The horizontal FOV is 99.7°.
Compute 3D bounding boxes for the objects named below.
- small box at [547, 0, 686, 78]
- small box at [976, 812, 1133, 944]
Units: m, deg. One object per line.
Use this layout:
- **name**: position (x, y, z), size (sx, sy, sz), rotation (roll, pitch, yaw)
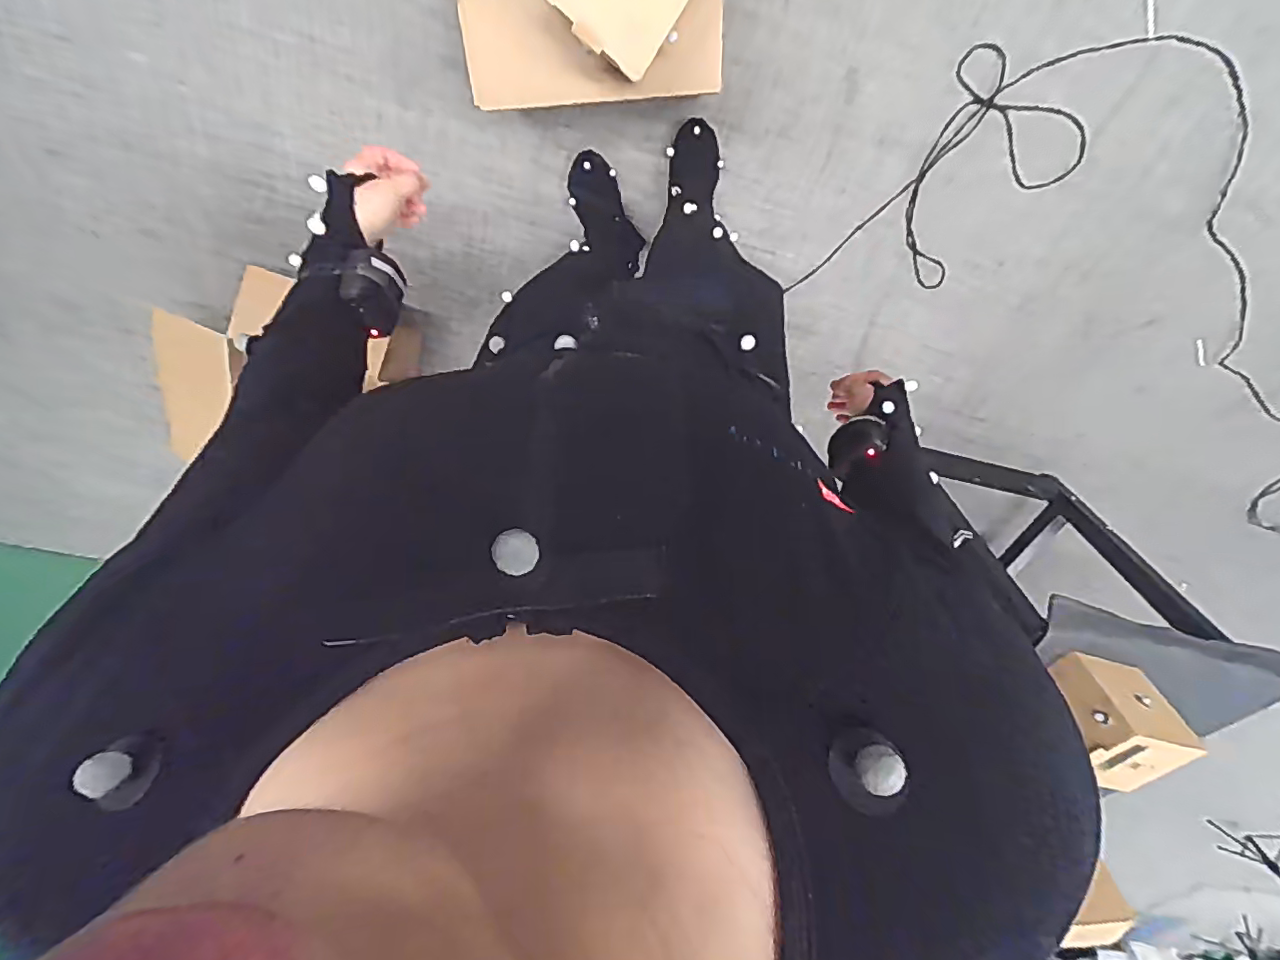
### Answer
- **small box**: position (-0.019, -0.686, 0.726), size (0.168, 0.176, 0.179), rotation (31, 122, -21)
- **small box**: position (0.805, 0.789, 1.076), size (0.179, 0.176, 0.168), rotation (-11, 127, 7)
